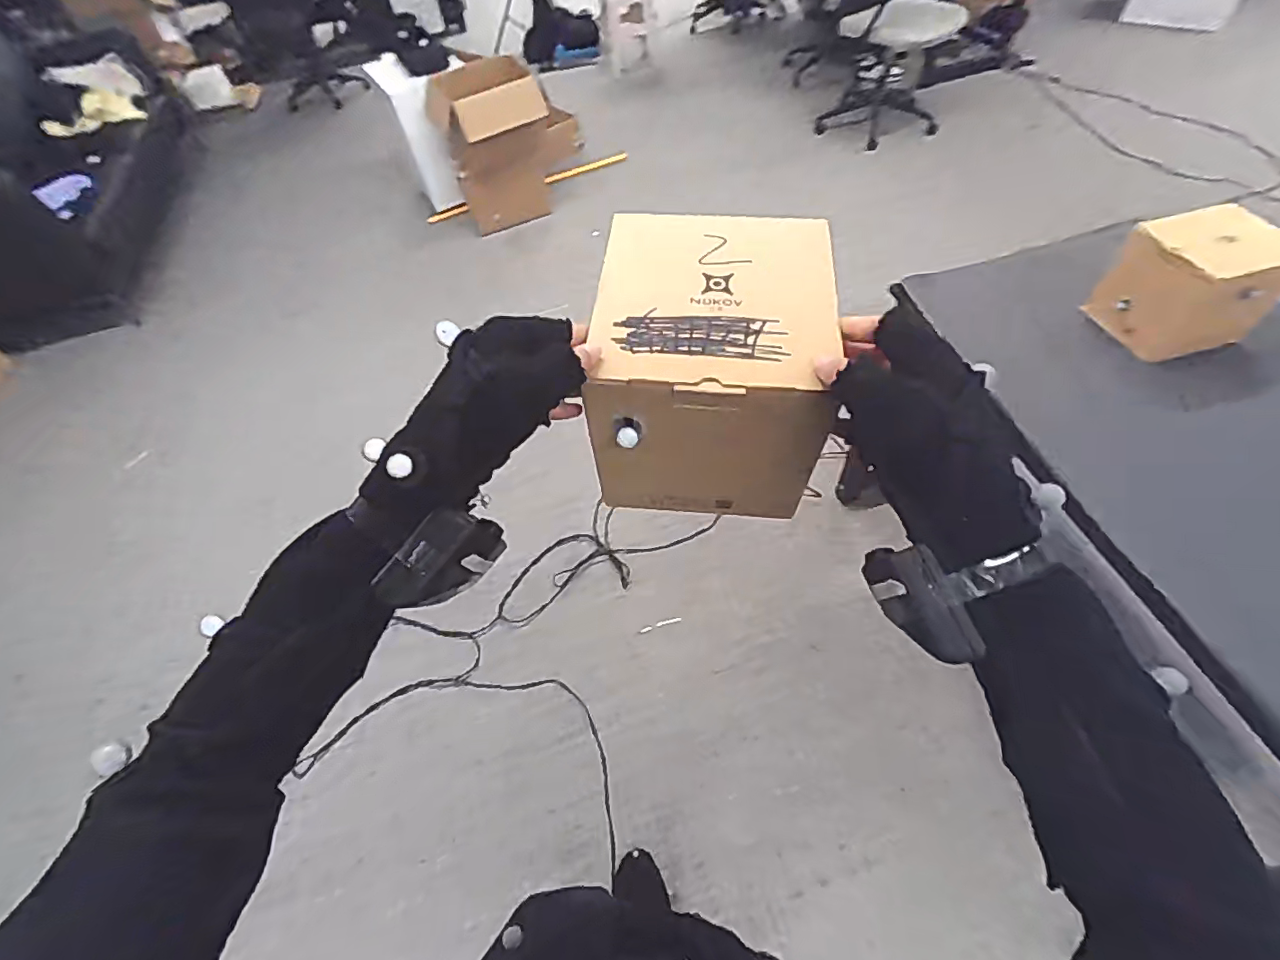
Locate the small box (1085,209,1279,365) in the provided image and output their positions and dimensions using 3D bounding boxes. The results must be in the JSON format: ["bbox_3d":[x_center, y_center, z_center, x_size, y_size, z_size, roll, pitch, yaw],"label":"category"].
[{"bbox_3d":[0.926,-0.323,0.917,0.179,0.176,0.168,-14,54,-3],"label":"small box"}]
